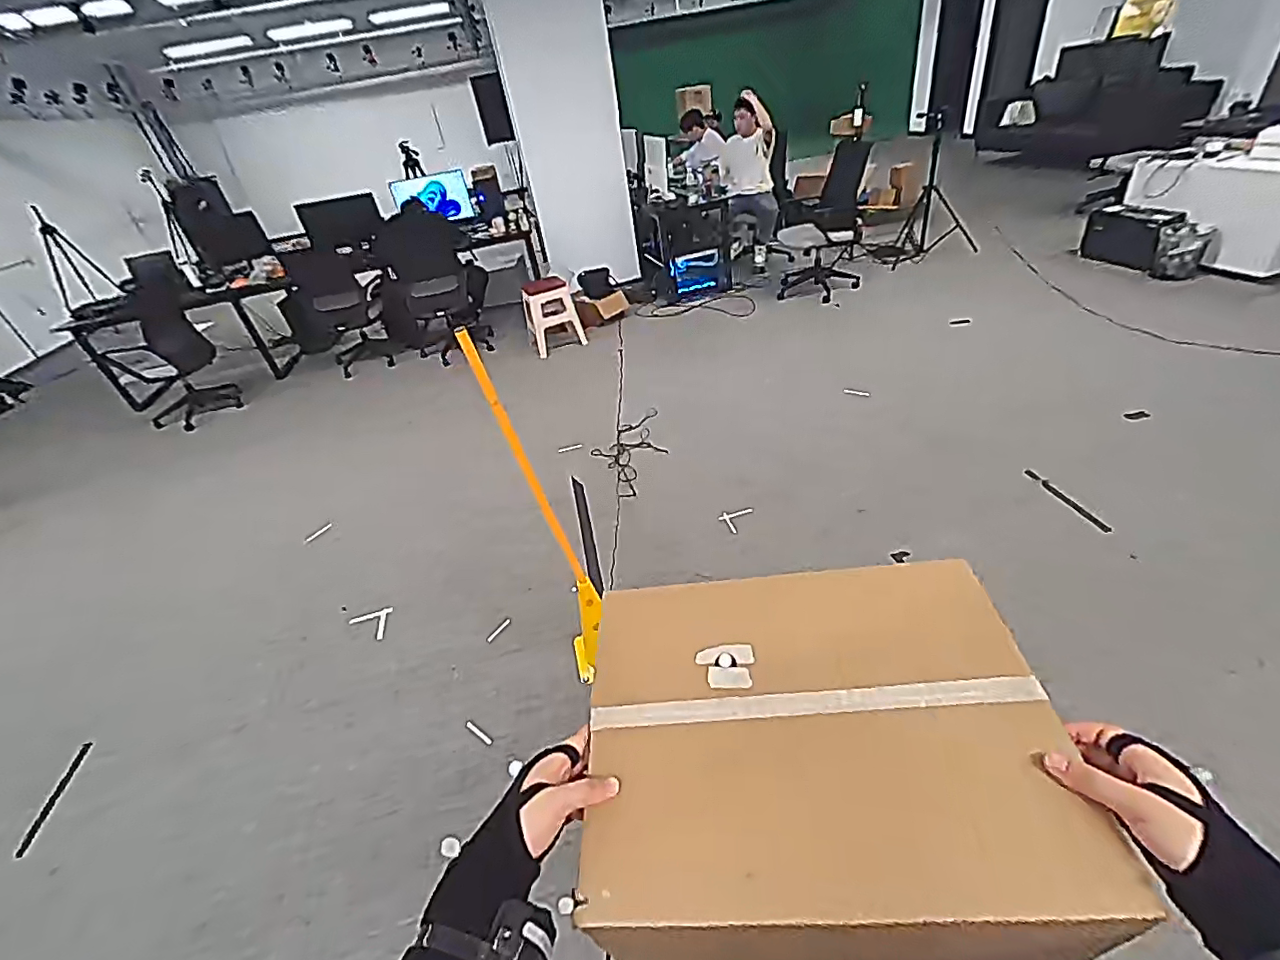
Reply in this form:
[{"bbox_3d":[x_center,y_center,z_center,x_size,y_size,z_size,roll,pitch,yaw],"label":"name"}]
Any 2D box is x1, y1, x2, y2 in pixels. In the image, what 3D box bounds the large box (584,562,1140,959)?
[{"bbox_3d":[0.182,0.329,0.598,0.408,0.320,0.320,-9,38,8],"label":"large box"}]
